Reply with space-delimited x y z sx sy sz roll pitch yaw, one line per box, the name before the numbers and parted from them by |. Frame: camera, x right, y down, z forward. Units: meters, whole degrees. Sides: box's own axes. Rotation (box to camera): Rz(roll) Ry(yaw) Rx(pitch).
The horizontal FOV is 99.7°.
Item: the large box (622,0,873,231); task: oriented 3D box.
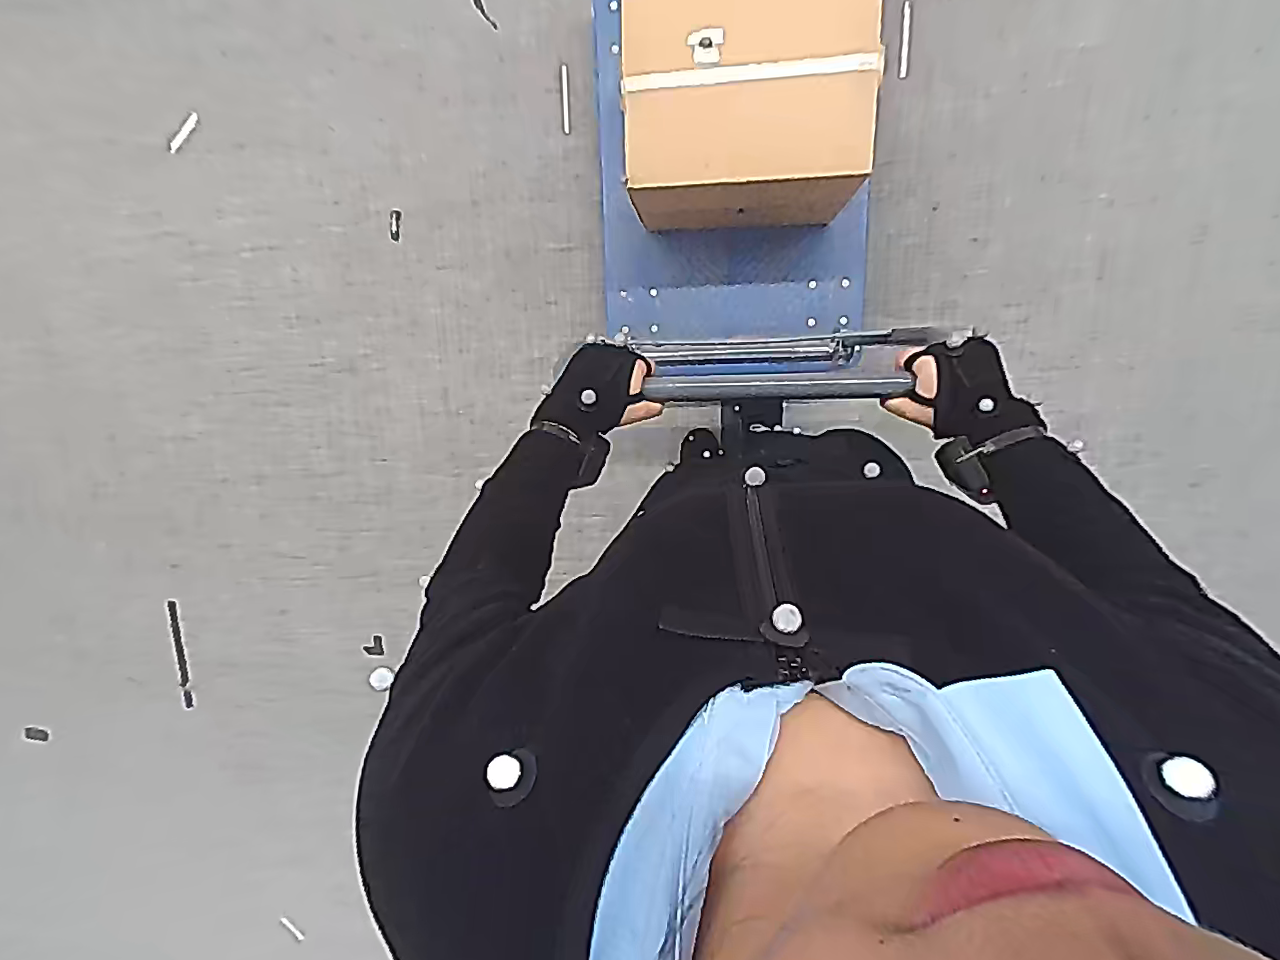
large box | 0.195 -0.686 1.034 0.408 0.320 0.320 0 101 8
